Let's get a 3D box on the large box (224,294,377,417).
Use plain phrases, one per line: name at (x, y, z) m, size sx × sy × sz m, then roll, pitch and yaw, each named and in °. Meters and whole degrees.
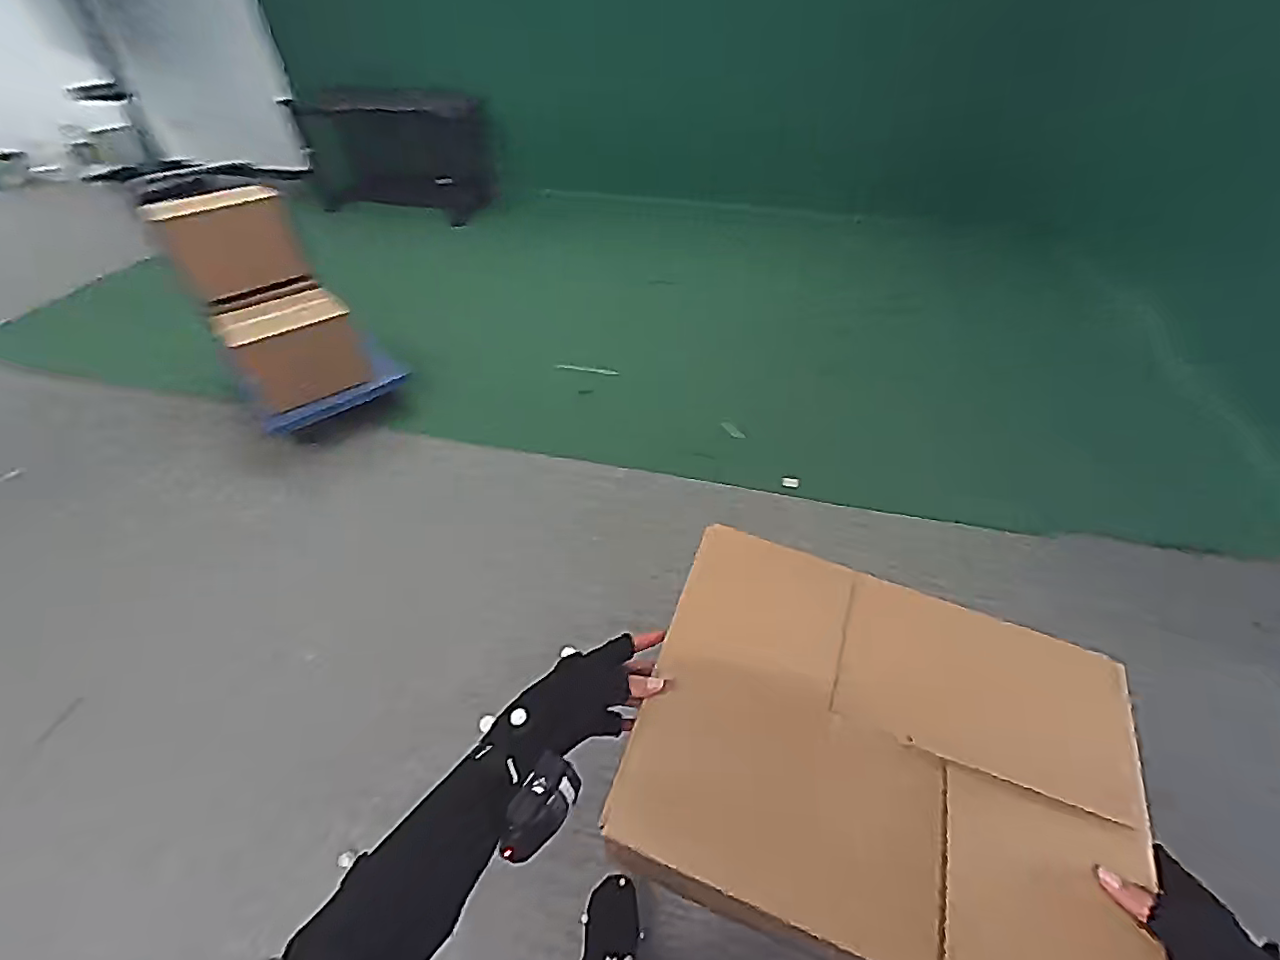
large box at (-1.368, -0.513, 2.201) m, size 0.408 × 0.320 × 0.320 m, roll -29°, pitch 49°, yaw -28°
